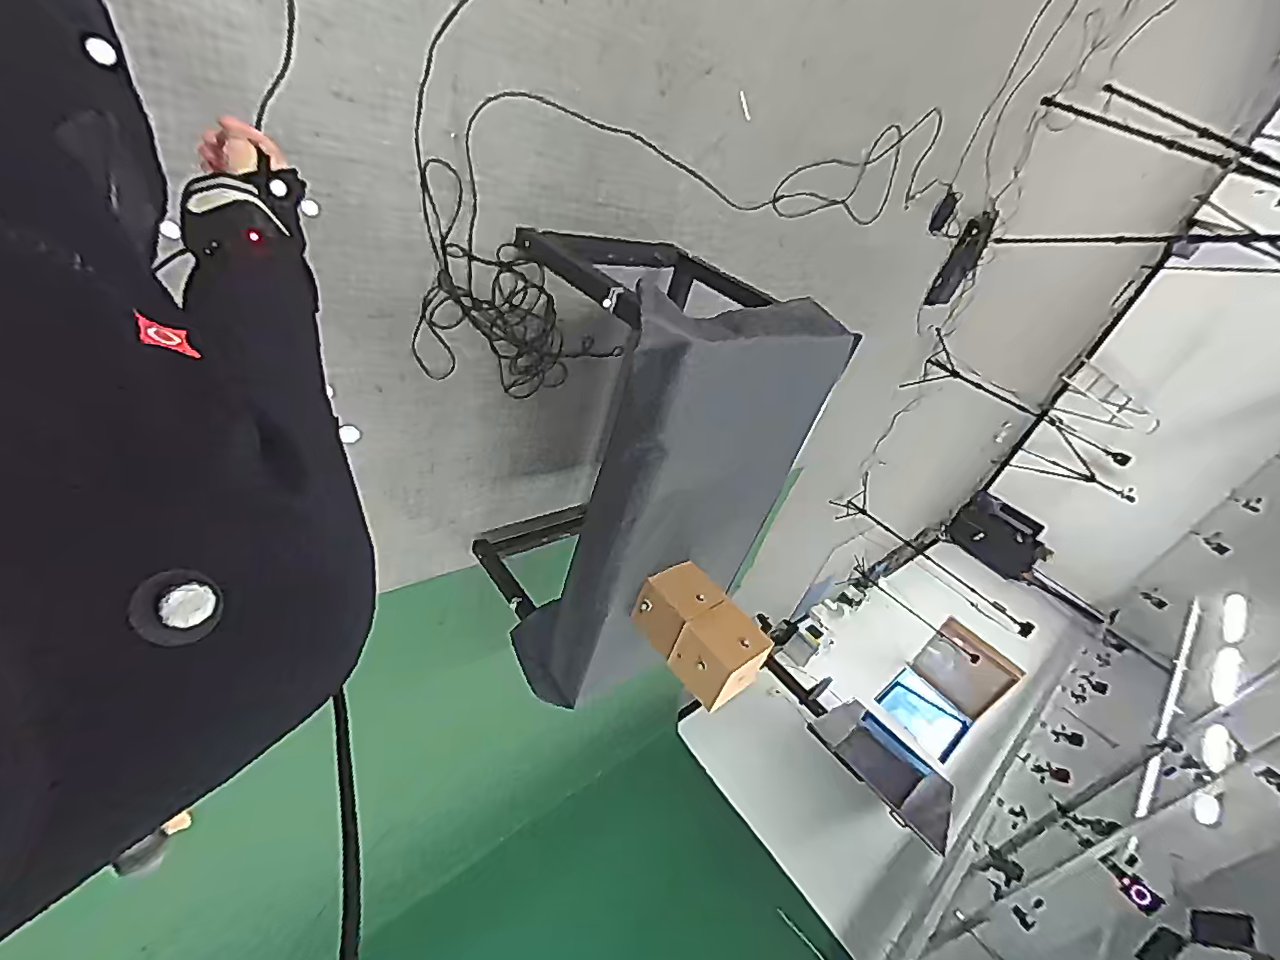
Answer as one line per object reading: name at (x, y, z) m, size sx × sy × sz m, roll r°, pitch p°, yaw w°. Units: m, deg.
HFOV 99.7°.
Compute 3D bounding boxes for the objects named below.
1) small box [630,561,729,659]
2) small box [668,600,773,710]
small box at (0.103, 0.347, 1.474) m, size 0.179 × 0.176 × 0.168 m, roll -13°, pitch 134°, yaw -40°
small box at (0.198, 0.439, 1.379) m, size 0.179 × 0.176 × 0.168 m, roll -16°, pitch 136°, yaw -41°
